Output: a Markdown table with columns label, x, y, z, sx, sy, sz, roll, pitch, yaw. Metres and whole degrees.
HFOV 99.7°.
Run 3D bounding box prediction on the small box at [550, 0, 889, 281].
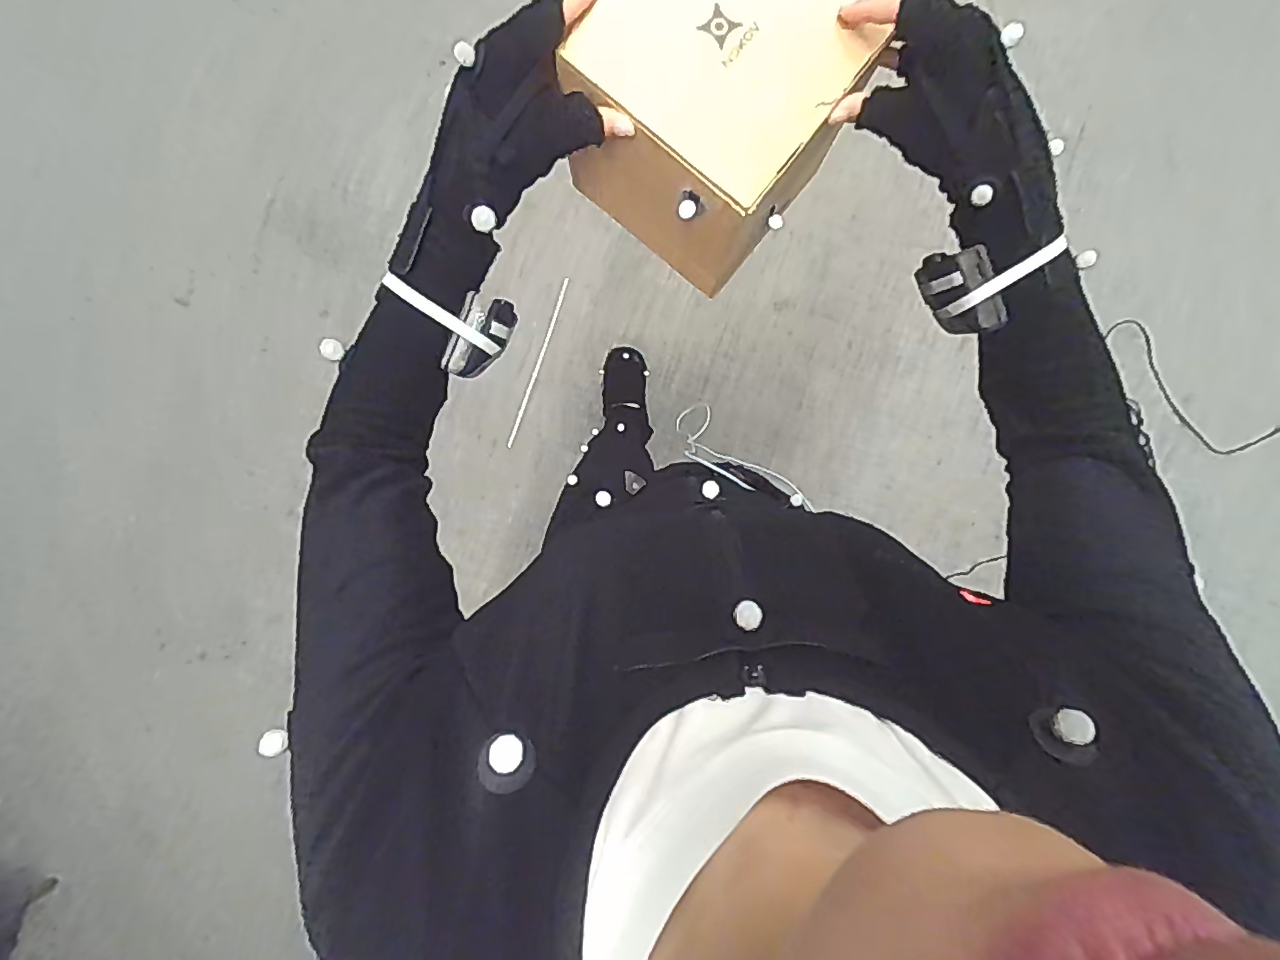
| label | x | y | z | sx | sy | sz | roll | pitch | yaw |
| --- | --- | --- | --- | --- | --- | --- | --- | --- | --- |
| small box | 0.051 | -0.299 | 0.444 | 0.179 | 0.176 | 0.168 | 40 | 88 | -3 |
